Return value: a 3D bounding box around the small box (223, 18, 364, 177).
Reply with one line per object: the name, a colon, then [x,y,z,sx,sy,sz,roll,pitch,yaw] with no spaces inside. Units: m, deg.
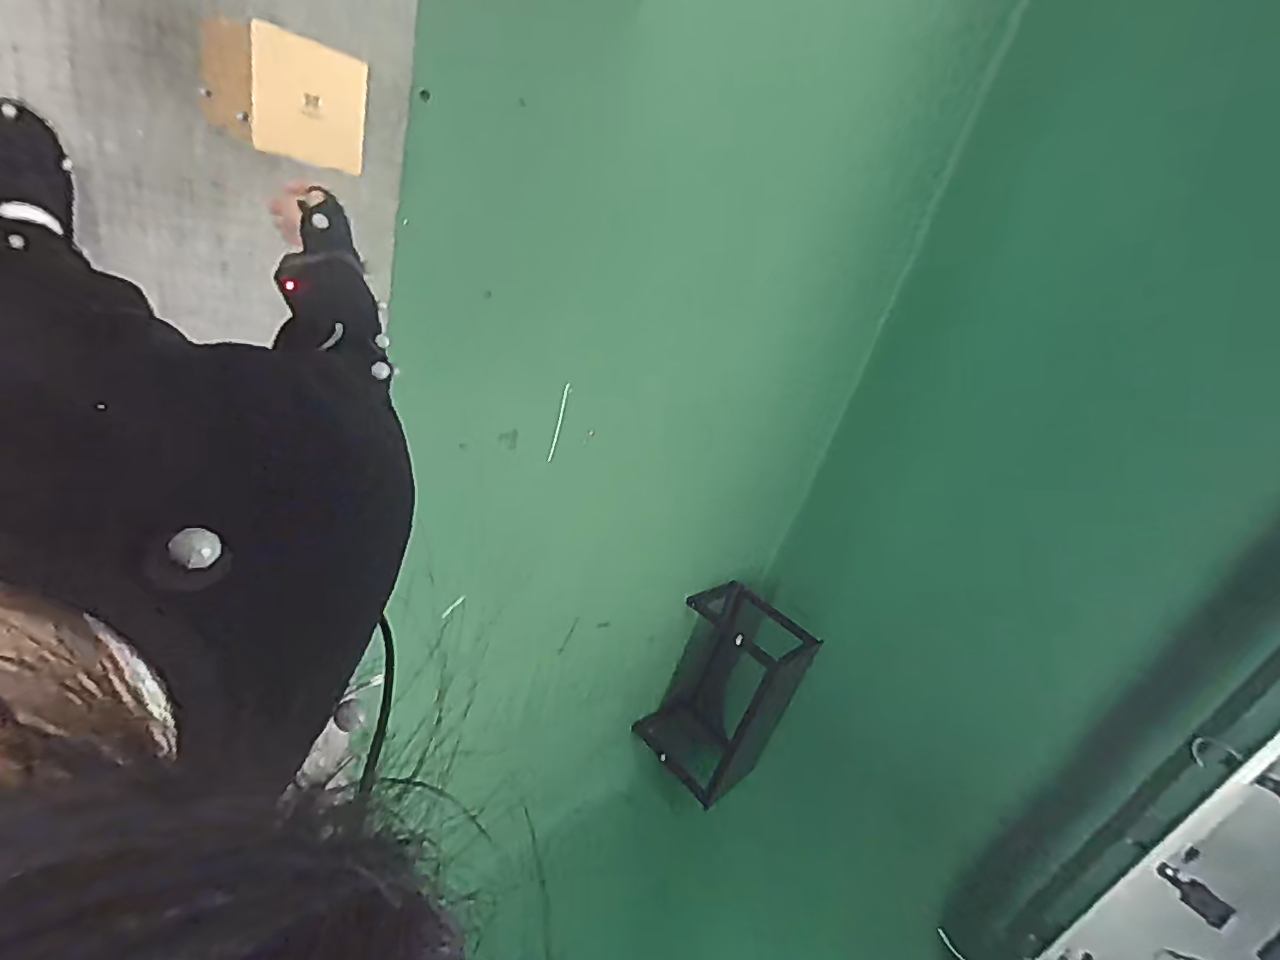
small box: [-0.594,-0.649,0.925,0.168,0.176,0.179,-10,127,-46]
